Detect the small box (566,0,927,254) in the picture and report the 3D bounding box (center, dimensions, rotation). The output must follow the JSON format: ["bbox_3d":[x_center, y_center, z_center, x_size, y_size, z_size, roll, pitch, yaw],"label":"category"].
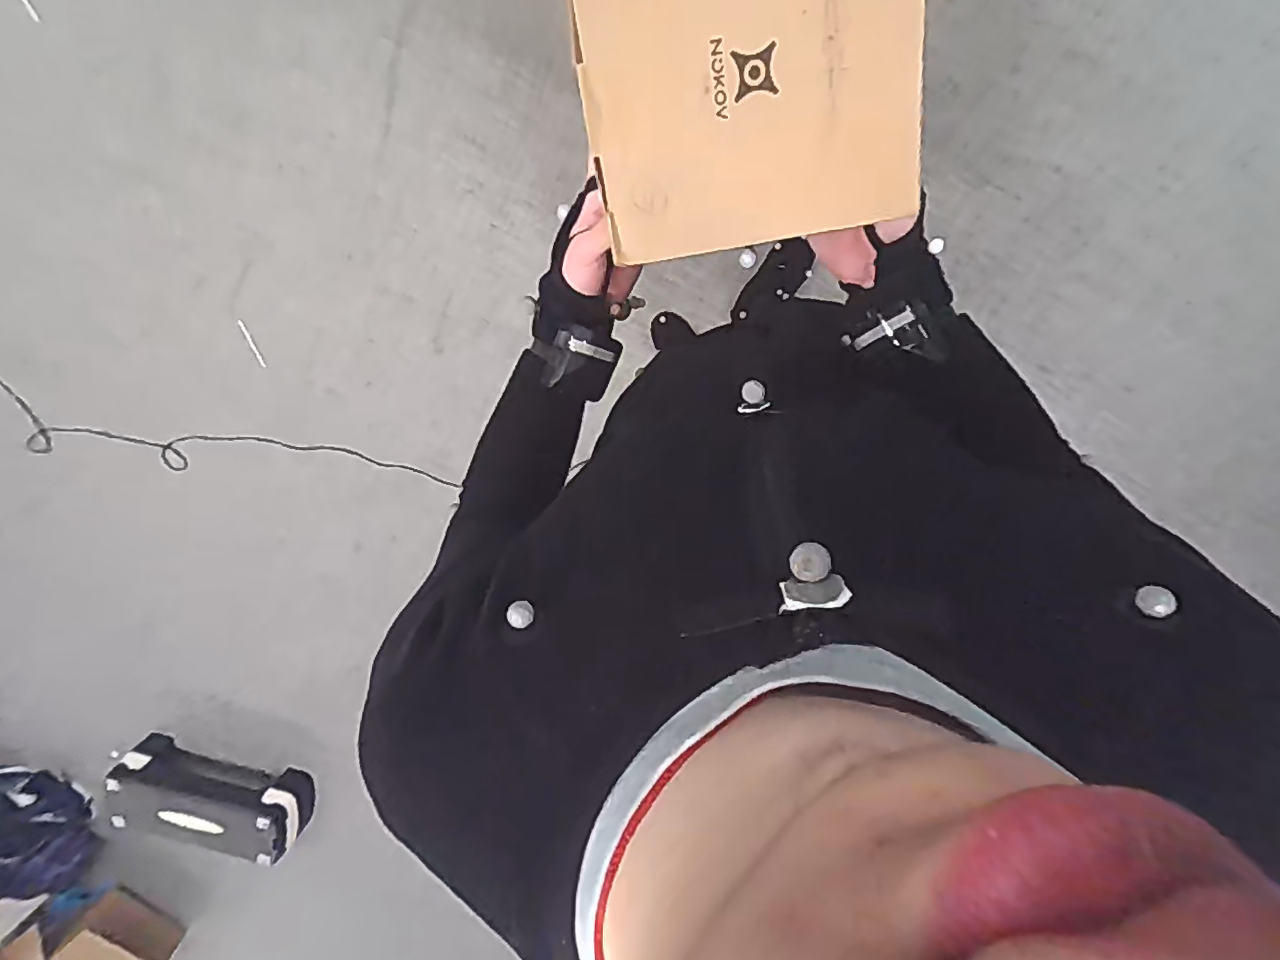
[{"bbox_3d":[0.063,-0.248,0.349,0.179,0.176,0.168,-7,114,9],"label":"small box"}]
